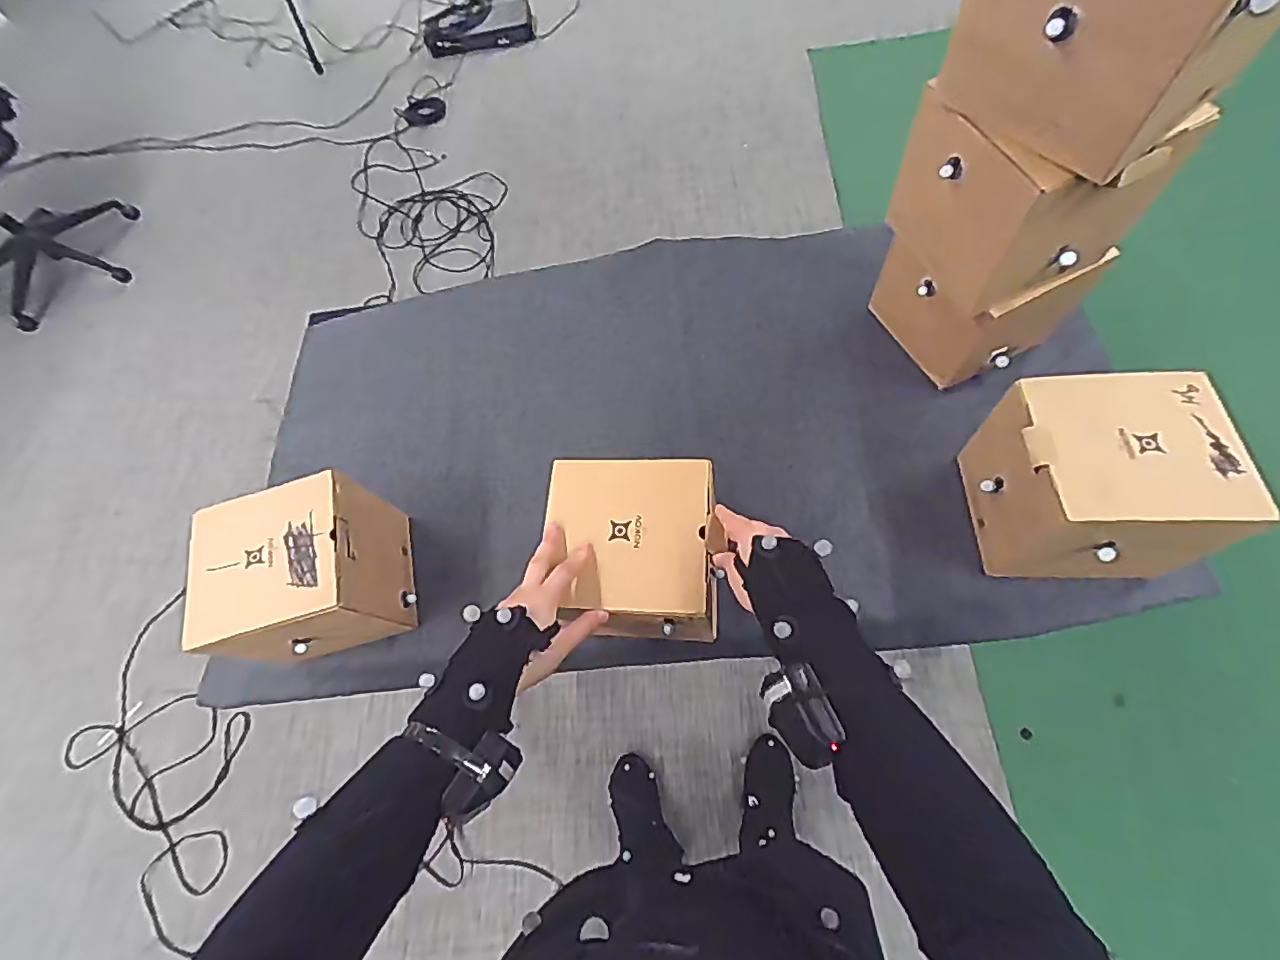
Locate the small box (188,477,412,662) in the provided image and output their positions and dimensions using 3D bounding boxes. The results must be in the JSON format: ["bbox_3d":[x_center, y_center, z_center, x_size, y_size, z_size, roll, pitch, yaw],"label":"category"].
[{"bbox_3d":[-0.401,0.119,0.669,0.179,0.176,0.168,-17,66,2],"label":"small box"}]

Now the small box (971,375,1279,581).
[{"bbox_3d":[0.485,0.006,0.582,0.179,0.176,0.168,-1,63,9],"label":"small box"}]

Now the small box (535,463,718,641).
[{"bbox_3d":[-0.002,0.090,0.626,0.179,0.176,0.168,0,67,9],"label":"small box"}]

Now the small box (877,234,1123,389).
[{"bbox_3d":[0.442,-0.252,0.704,0.168,0.176,0.179,-27,68,-1],"label":"small box"}]

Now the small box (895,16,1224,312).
[{"bbox_3d":[0.395,-0.311,0.556,0.168,0.176,0.179,-24,66,2],"label":"small box"}]
